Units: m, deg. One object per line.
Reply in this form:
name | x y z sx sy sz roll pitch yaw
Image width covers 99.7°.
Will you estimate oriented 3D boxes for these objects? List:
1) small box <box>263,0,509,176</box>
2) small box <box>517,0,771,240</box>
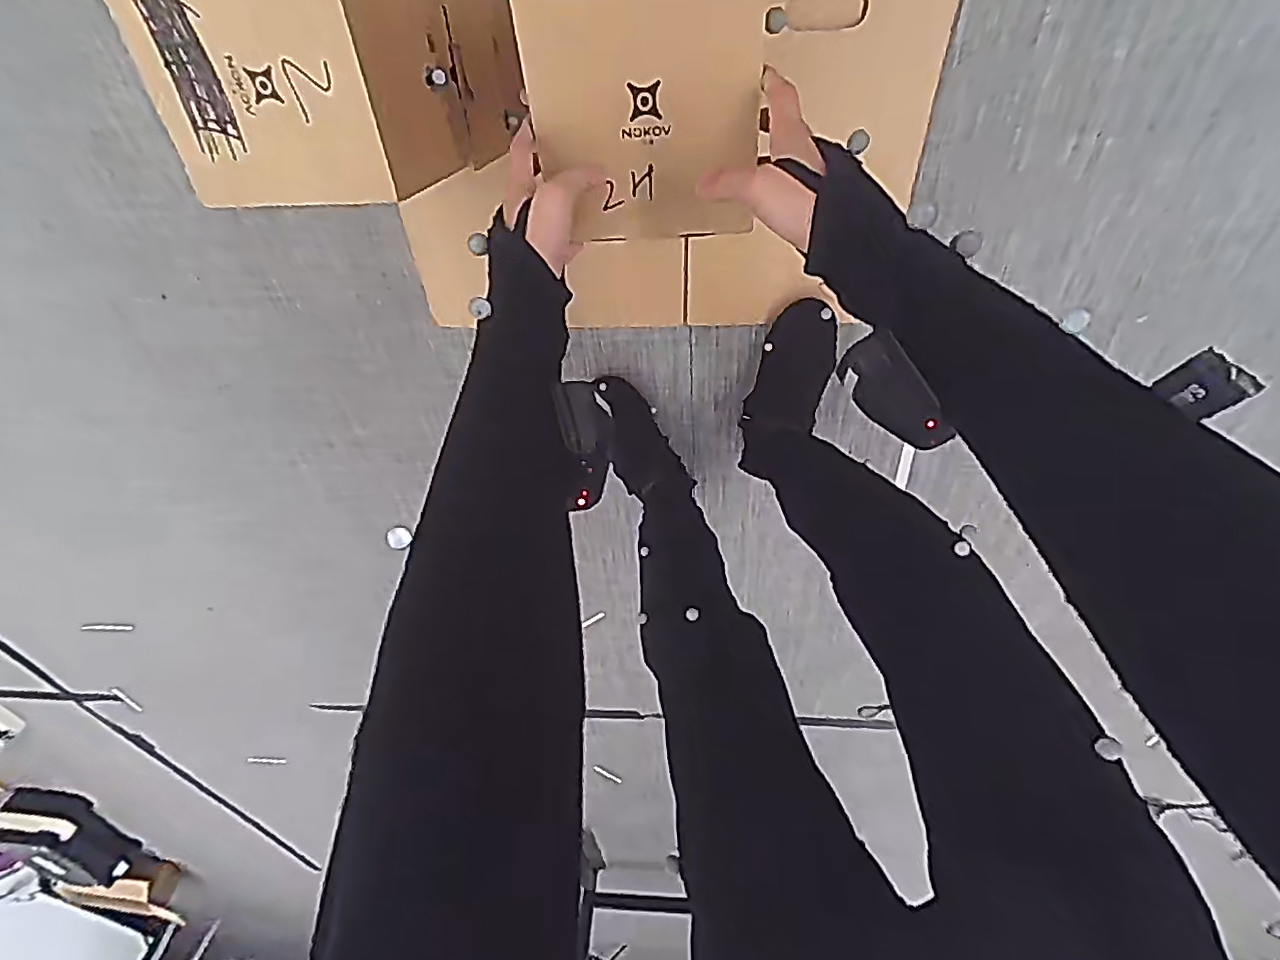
small box | -0.253 -0.442 0.592 0.179 0.176 0.168 2 129 5
small box | 0.009 -0.320 0.445 0.168 0.176 0.179 0 135 5
